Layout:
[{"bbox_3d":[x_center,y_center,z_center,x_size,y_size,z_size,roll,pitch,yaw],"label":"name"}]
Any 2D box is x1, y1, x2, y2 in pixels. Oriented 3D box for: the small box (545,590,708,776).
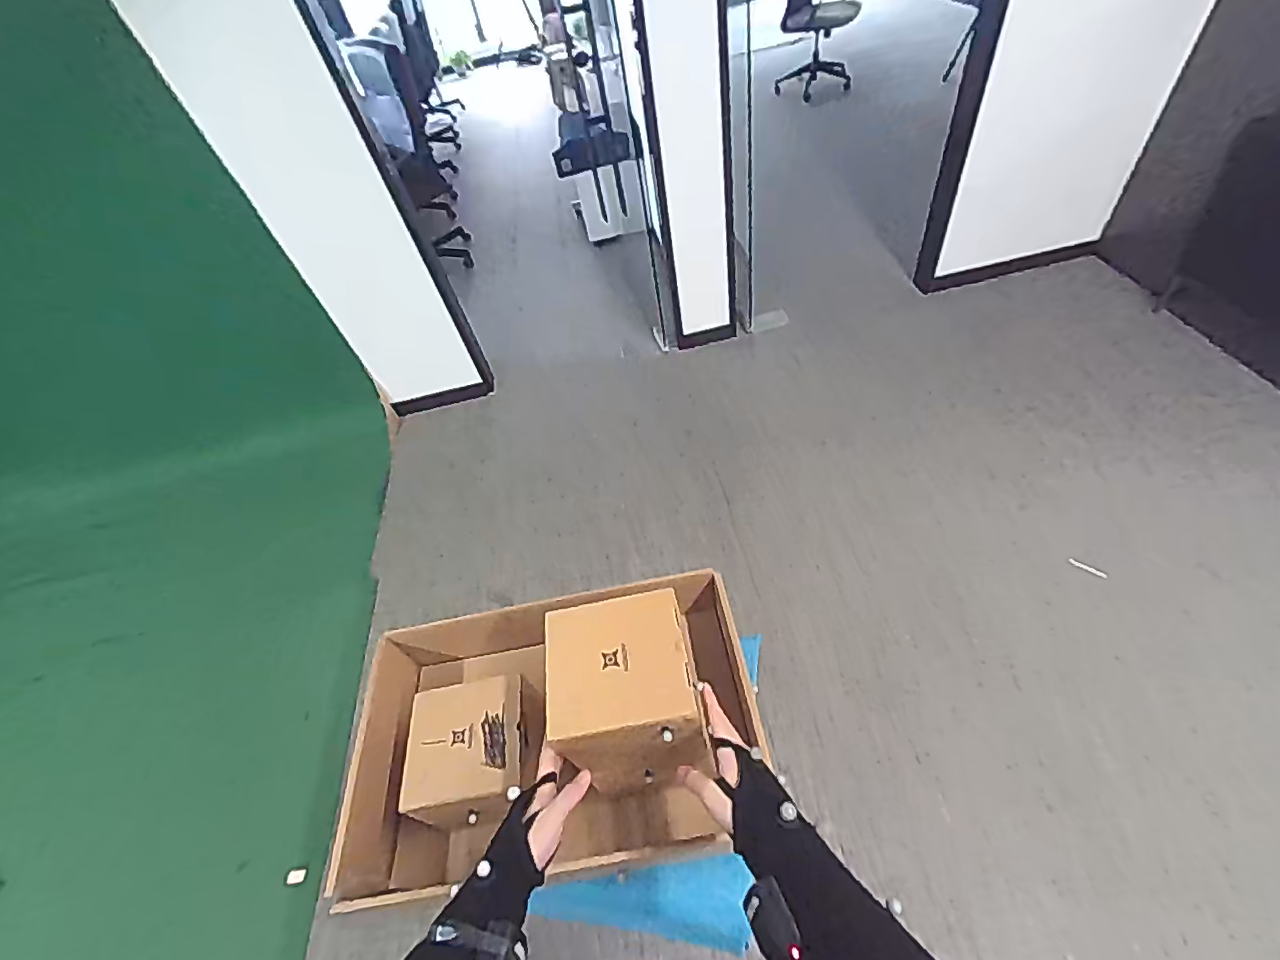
[{"bbox_3d":[-0.016,0.271,0.713,0.179,0.176,0.168,-11,47,2],"label":"small box"}]
